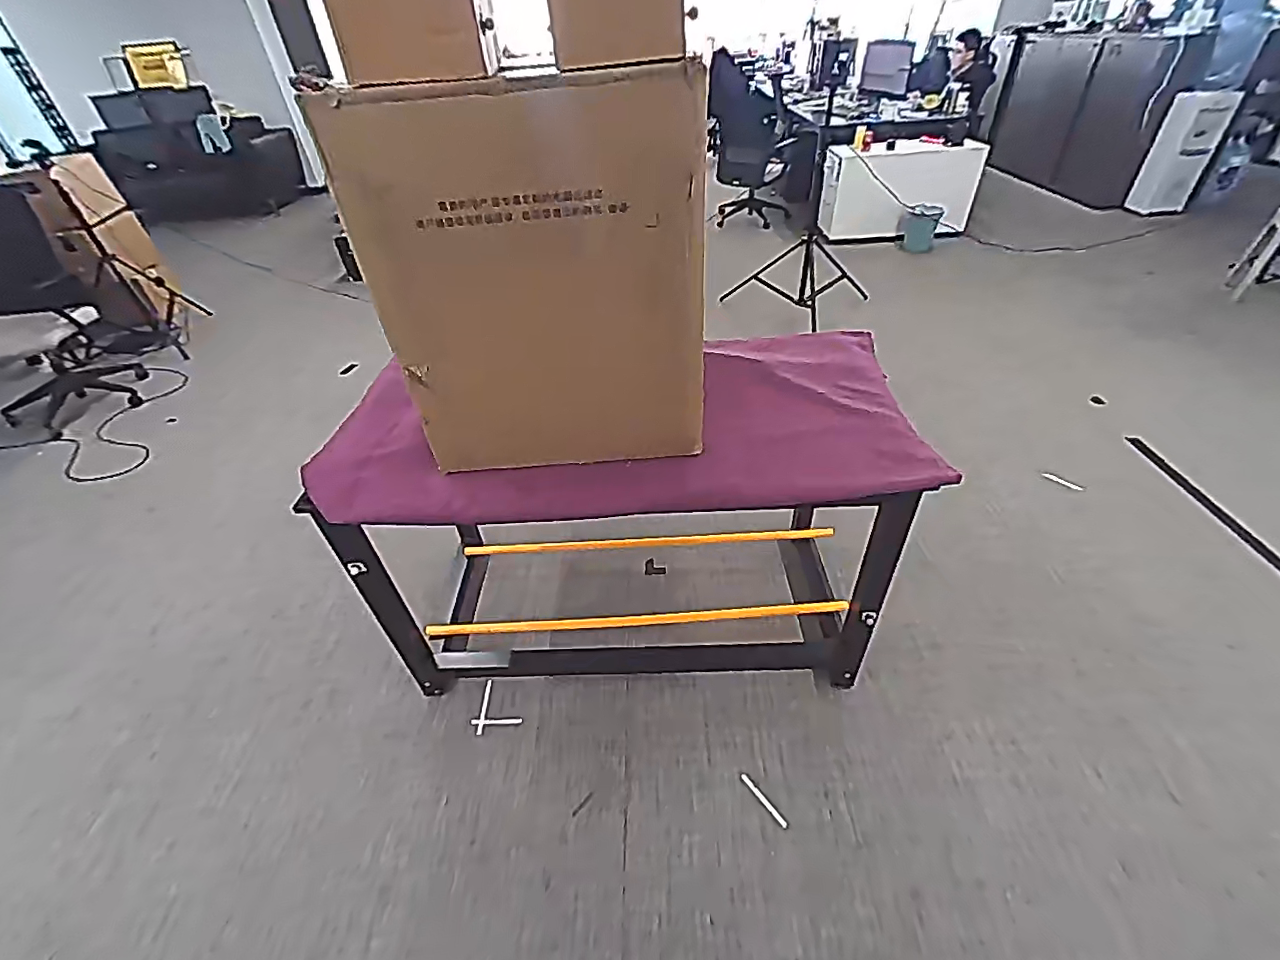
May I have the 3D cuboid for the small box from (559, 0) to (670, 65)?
[{"bbox_3d":[-0.039,-0.765,0.849,0.168,0.176,0.179,-3,40,3],"label":"small box"}]
